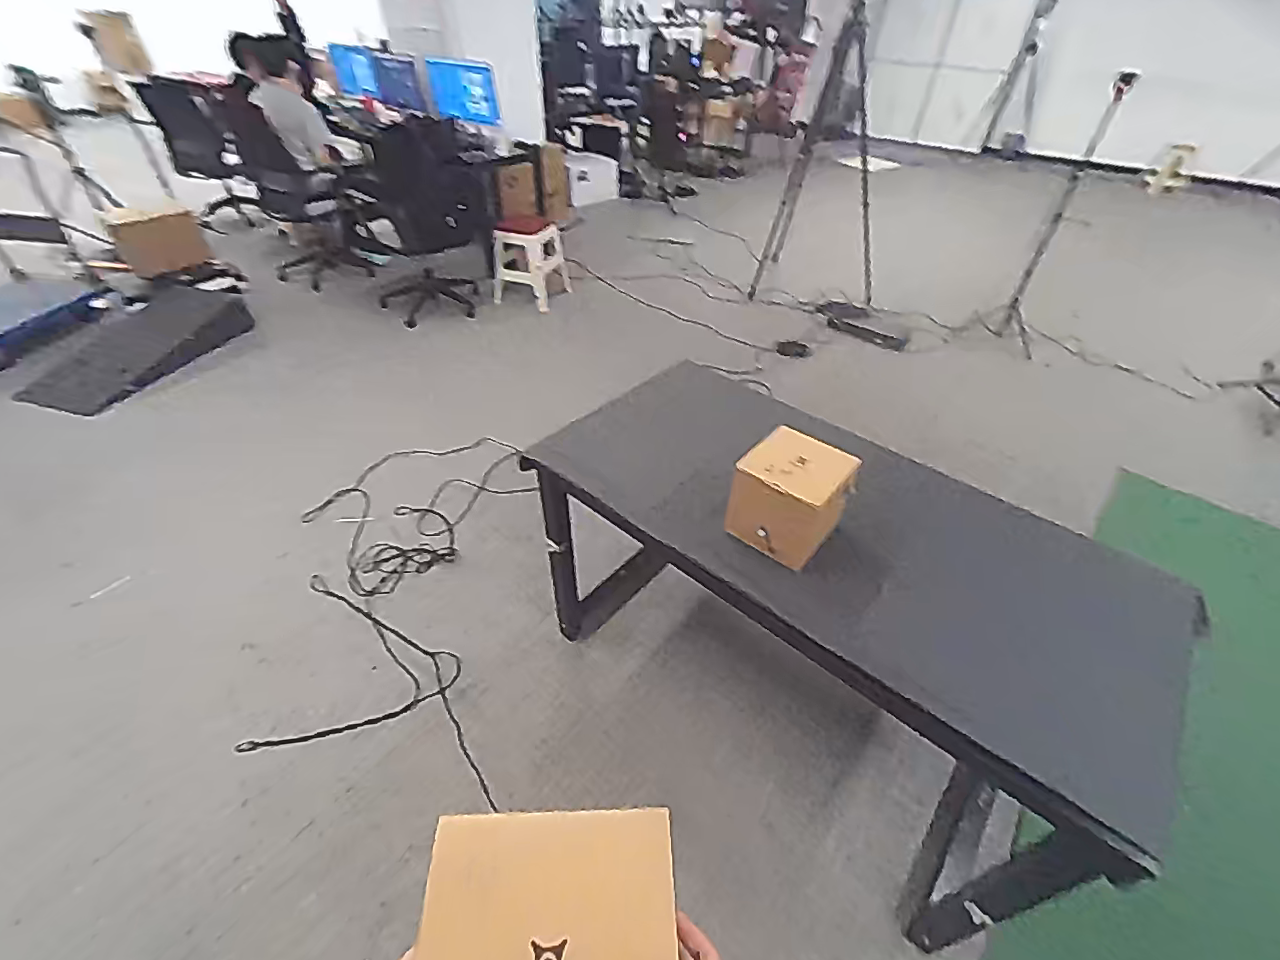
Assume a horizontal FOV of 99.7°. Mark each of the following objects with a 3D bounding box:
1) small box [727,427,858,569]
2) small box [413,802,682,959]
[{"bbox_3d":[0.281,0.033,1.027,0.168,0.176,0.179,29,47,29],"label":"small box"},{"bbox_3d":[-0.061,0.350,0.383,0.168,0.176,0.179,1,46,-4],"label":"small box"}]
